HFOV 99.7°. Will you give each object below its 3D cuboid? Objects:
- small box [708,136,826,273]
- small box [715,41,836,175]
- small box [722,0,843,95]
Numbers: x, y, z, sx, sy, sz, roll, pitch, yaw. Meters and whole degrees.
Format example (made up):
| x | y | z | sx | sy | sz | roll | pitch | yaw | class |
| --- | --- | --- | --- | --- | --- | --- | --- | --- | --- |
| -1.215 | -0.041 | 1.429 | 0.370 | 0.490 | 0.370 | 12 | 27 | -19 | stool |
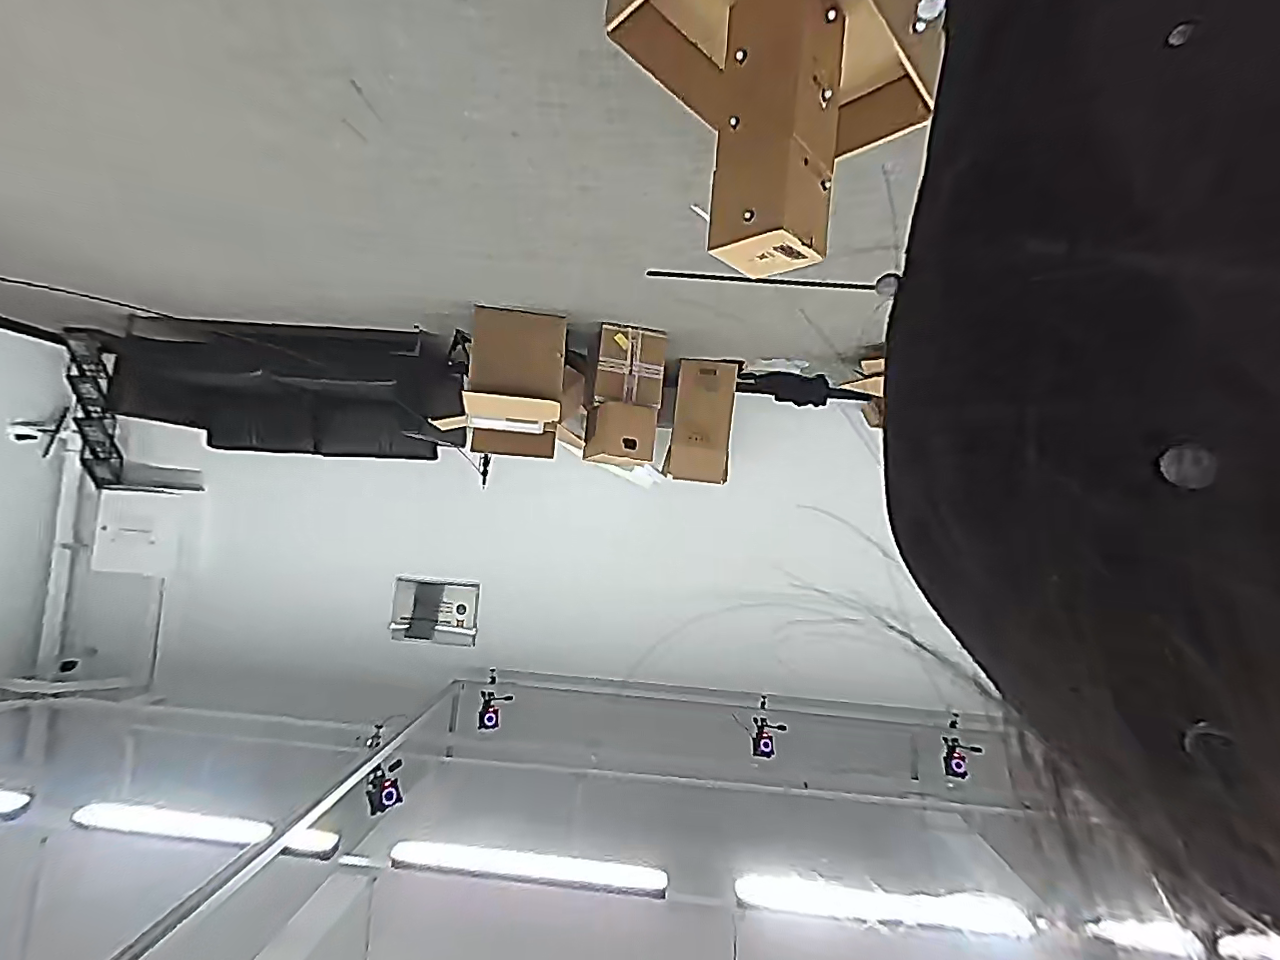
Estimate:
| x | y | z | sx | sy | sz | roll | pitch | yaw | class |
| --- | --- | --- | --- | --- | --- | --- | --- | --- | --- |
| 0.254 | -0.536 | 1.068 | 0.168 | 0.176 | 0.179 | 6 | 179 | -44 | small box |
| 0.270 | -0.700 | 1.069 | 0.179 | 0.176 | 0.168 | 2 | 177 | 44 | small box |
| 0.285 | -0.861 | 1.073 | 0.179 | 0.176 | 0.168 | 3 | 178 | 43 | small box |
